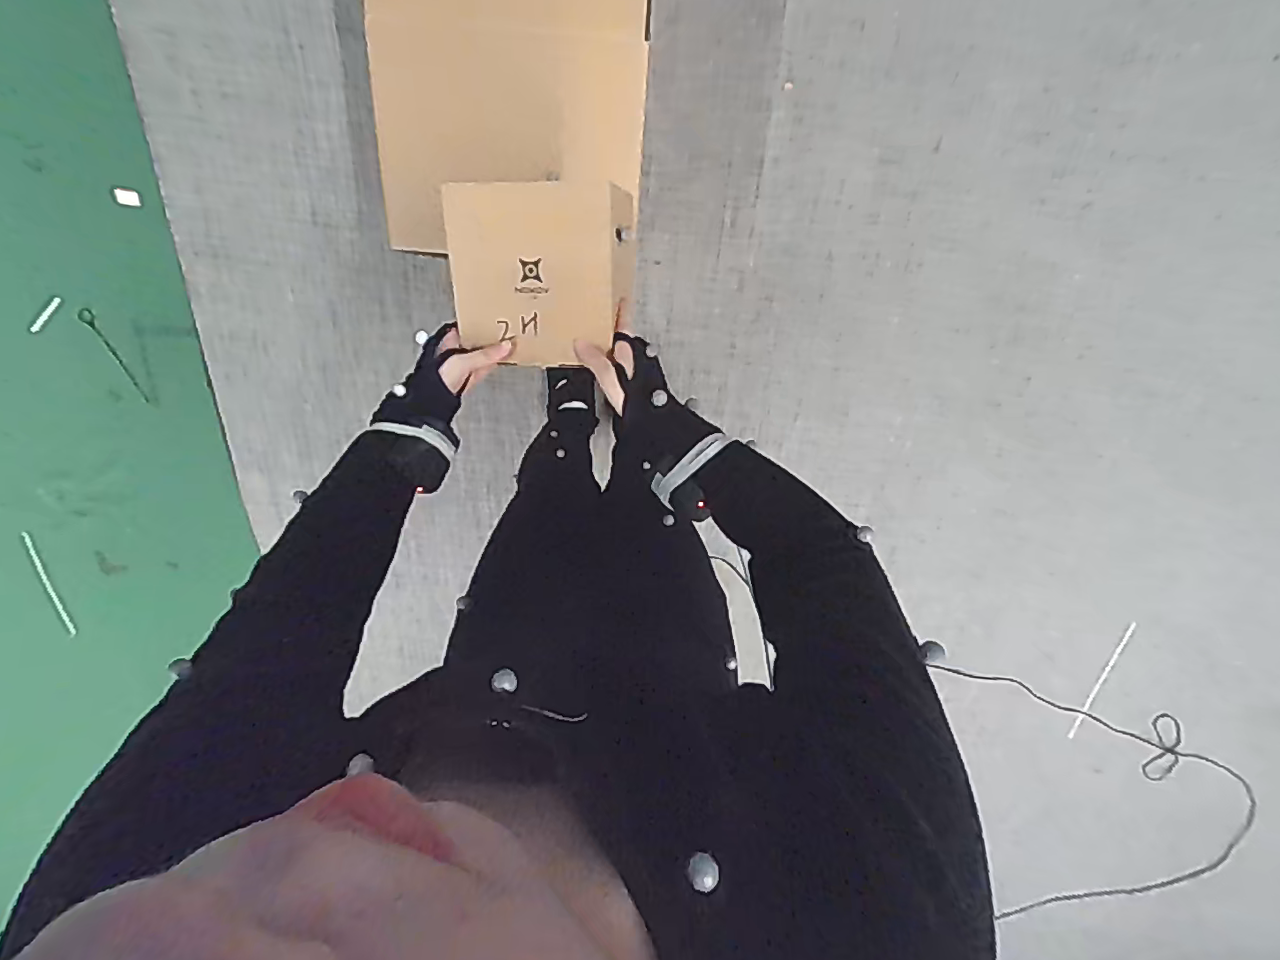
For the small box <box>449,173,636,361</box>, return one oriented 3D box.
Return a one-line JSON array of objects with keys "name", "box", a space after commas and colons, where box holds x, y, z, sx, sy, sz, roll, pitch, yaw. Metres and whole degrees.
[{"name": "small box", "box": [-0.097, -0.242, 0.618, 0.168, 0.176, 0.179, 3, 114, 6]}]
